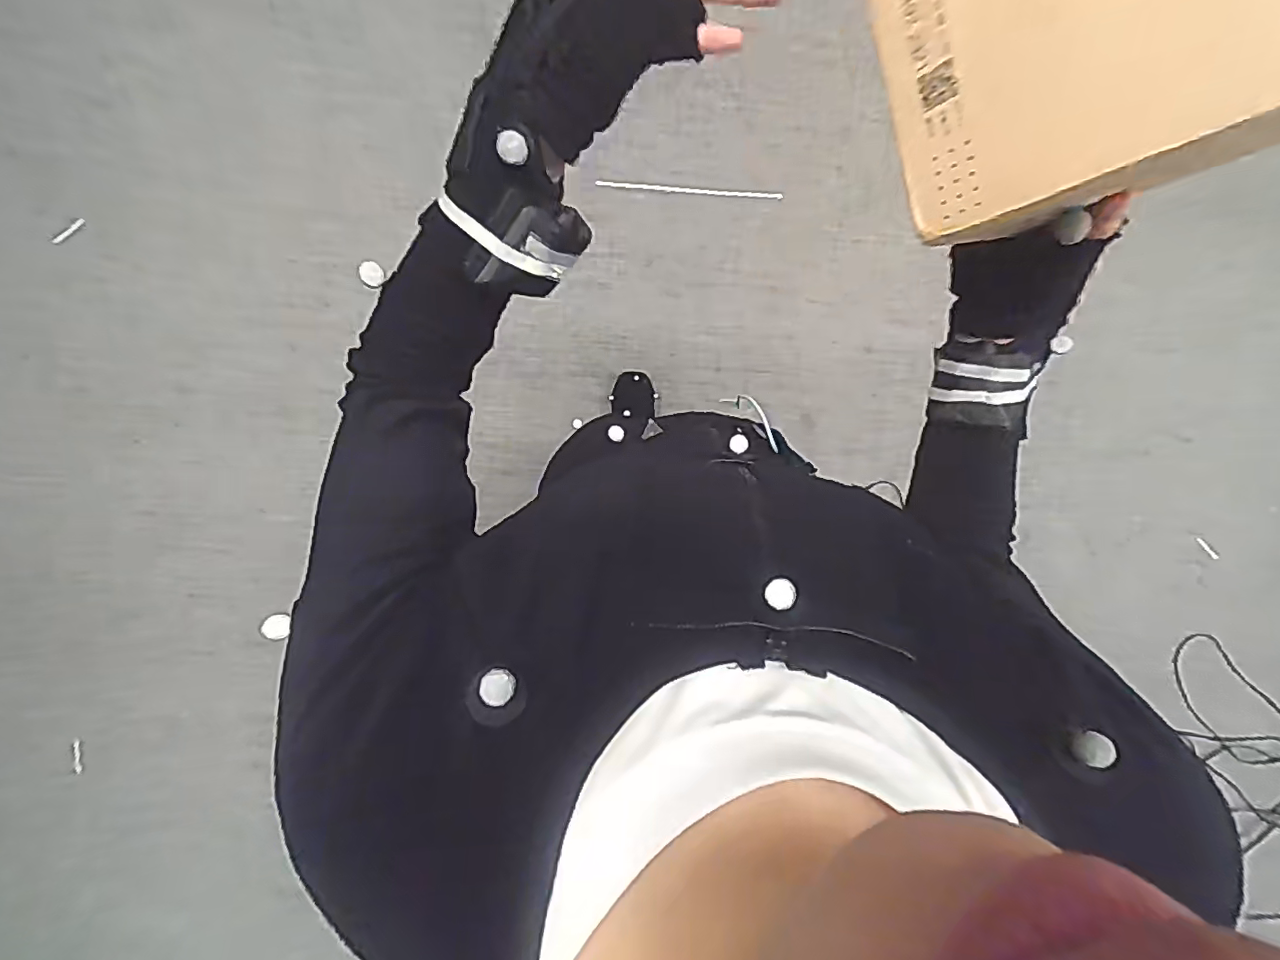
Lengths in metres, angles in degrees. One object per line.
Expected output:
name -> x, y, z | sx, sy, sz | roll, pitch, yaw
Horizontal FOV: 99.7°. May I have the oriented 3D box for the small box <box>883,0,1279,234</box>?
small box -> 0.223, -0.219, 0.228 | 0.179, 0.176, 0.168 | -23, 101, -38
